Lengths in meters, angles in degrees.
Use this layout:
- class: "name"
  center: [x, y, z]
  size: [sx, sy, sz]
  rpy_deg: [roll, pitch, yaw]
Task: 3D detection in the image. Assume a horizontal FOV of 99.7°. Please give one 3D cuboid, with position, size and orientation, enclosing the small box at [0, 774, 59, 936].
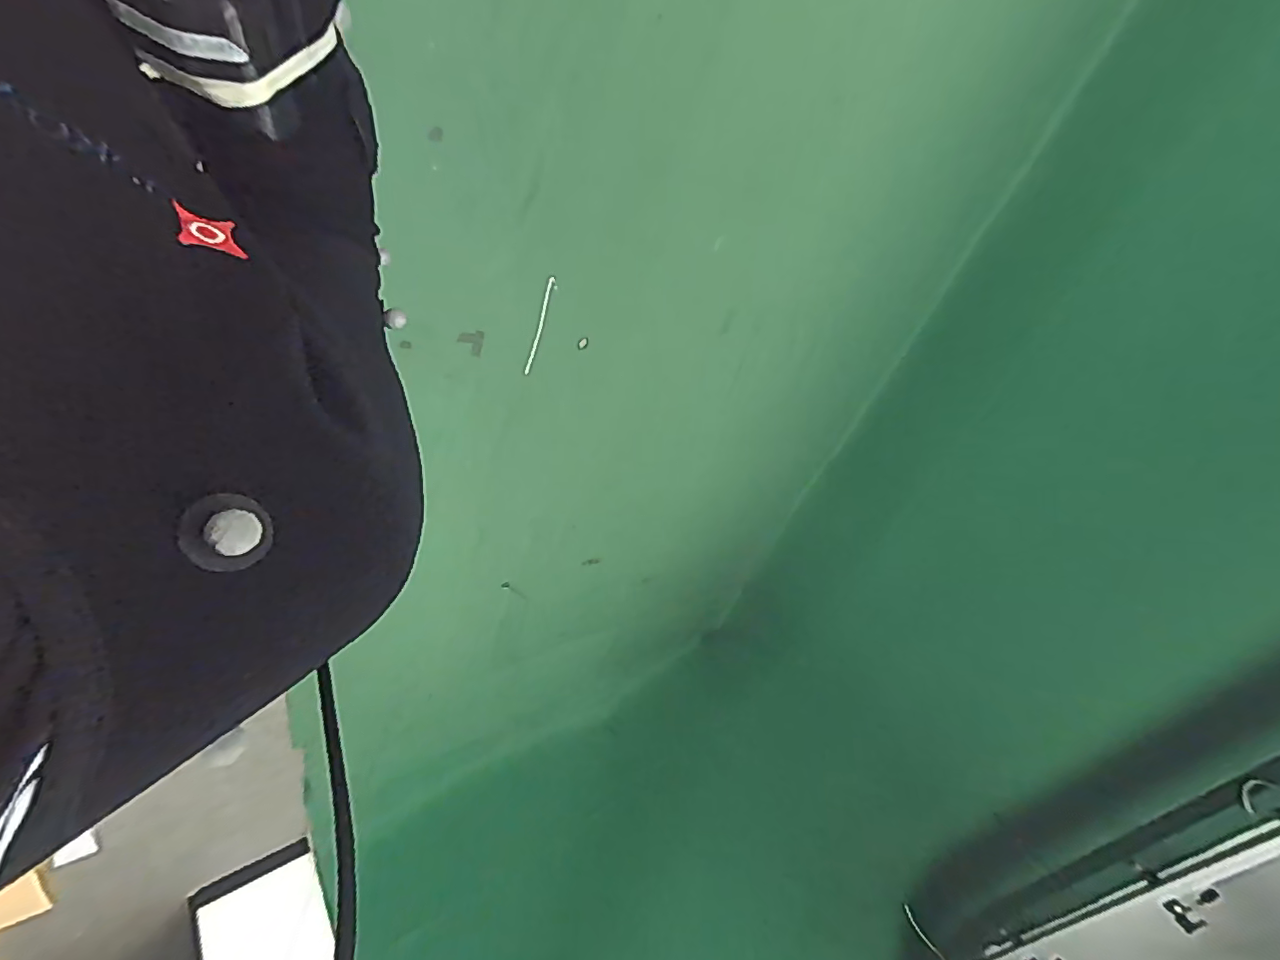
- class: "small box"
  center: [-0.992, 0.569, 0.797]
  size: [0.168, 0.176, 0.179]
  rpy_deg: [-6, 134, -41]
